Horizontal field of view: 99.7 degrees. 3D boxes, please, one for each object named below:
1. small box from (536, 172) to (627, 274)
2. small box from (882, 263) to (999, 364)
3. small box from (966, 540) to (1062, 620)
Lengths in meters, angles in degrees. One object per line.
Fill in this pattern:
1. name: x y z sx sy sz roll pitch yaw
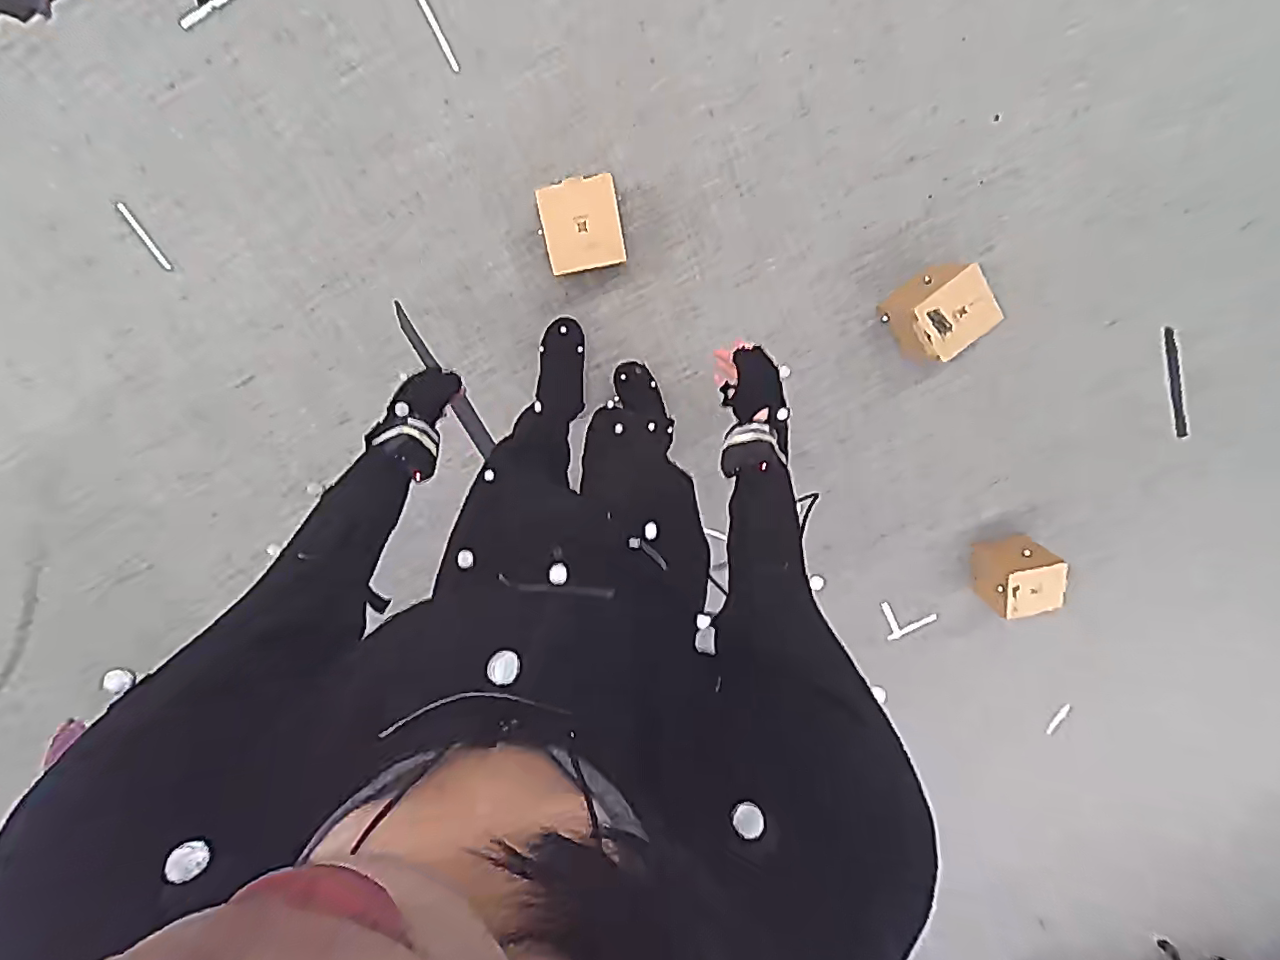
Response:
1. small box: -0.129 -0.569 1.215 0.168 0.176 0.179 -11 113 0
2. small box: 0.738 -0.418 1.355 0.179 0.176 0.168 -37 110 8
3. small box: 1.148 0.302 1.669 0.179 0.176 0.168 -12 111 -1
